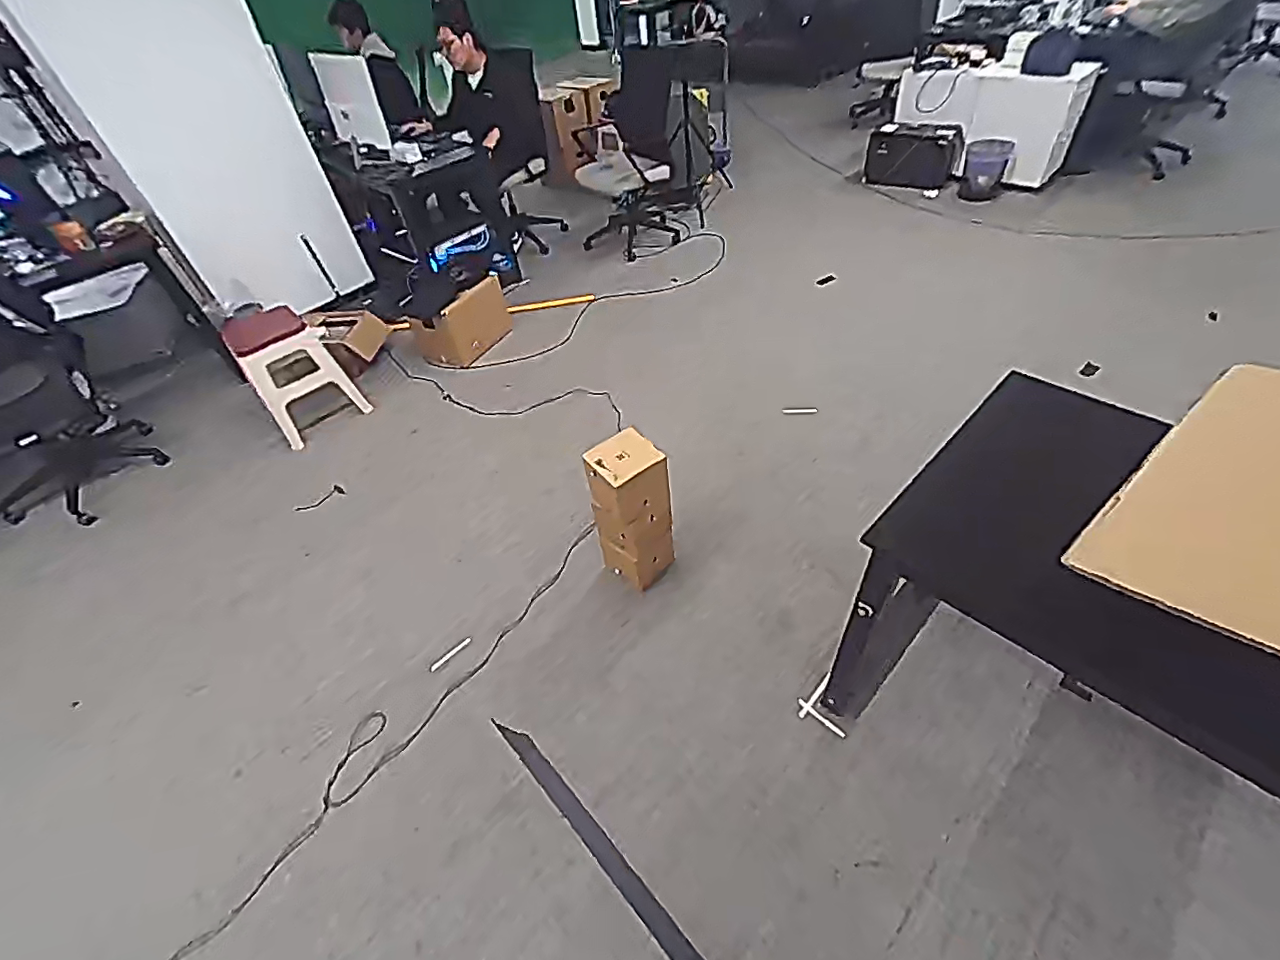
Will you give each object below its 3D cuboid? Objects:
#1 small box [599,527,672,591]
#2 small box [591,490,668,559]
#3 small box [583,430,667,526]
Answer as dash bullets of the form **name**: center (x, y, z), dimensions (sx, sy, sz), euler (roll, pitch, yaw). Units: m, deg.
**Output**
- **small box**: center (-0.009, 0.224, 1.759), dimensions (0.168, 0.176, 0.179), euler (30, 58, 31)
- **small box**: center (-0.023, 0.108, 1.647), dimensions (0.168, 0.176, 0.179), euler (27, 55, 29)
- **small box**: center (-0.039, -0.004, 1.528), dimensions (0.179, 0.176, 0.168), euler (-31, 50, -22)
